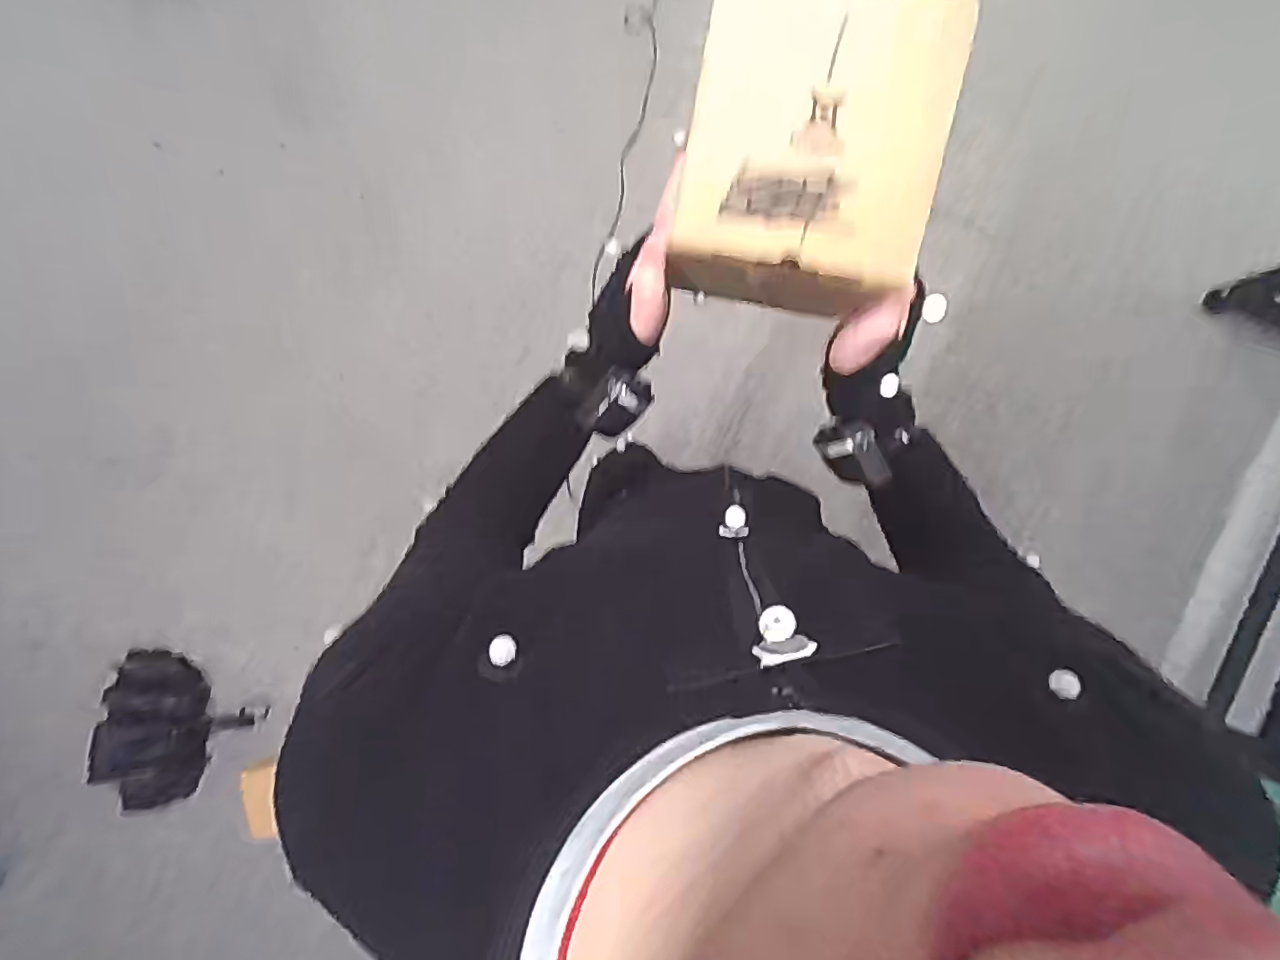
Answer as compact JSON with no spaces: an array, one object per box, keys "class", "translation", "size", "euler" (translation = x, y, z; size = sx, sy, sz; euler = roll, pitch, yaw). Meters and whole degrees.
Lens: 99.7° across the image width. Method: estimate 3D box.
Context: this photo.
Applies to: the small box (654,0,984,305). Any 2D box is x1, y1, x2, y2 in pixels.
[{"class":"small box","translation":[0.111,-0.241,0.413],"size":[0.168,0.176,0.179],"euler":[12,103,1]}]
